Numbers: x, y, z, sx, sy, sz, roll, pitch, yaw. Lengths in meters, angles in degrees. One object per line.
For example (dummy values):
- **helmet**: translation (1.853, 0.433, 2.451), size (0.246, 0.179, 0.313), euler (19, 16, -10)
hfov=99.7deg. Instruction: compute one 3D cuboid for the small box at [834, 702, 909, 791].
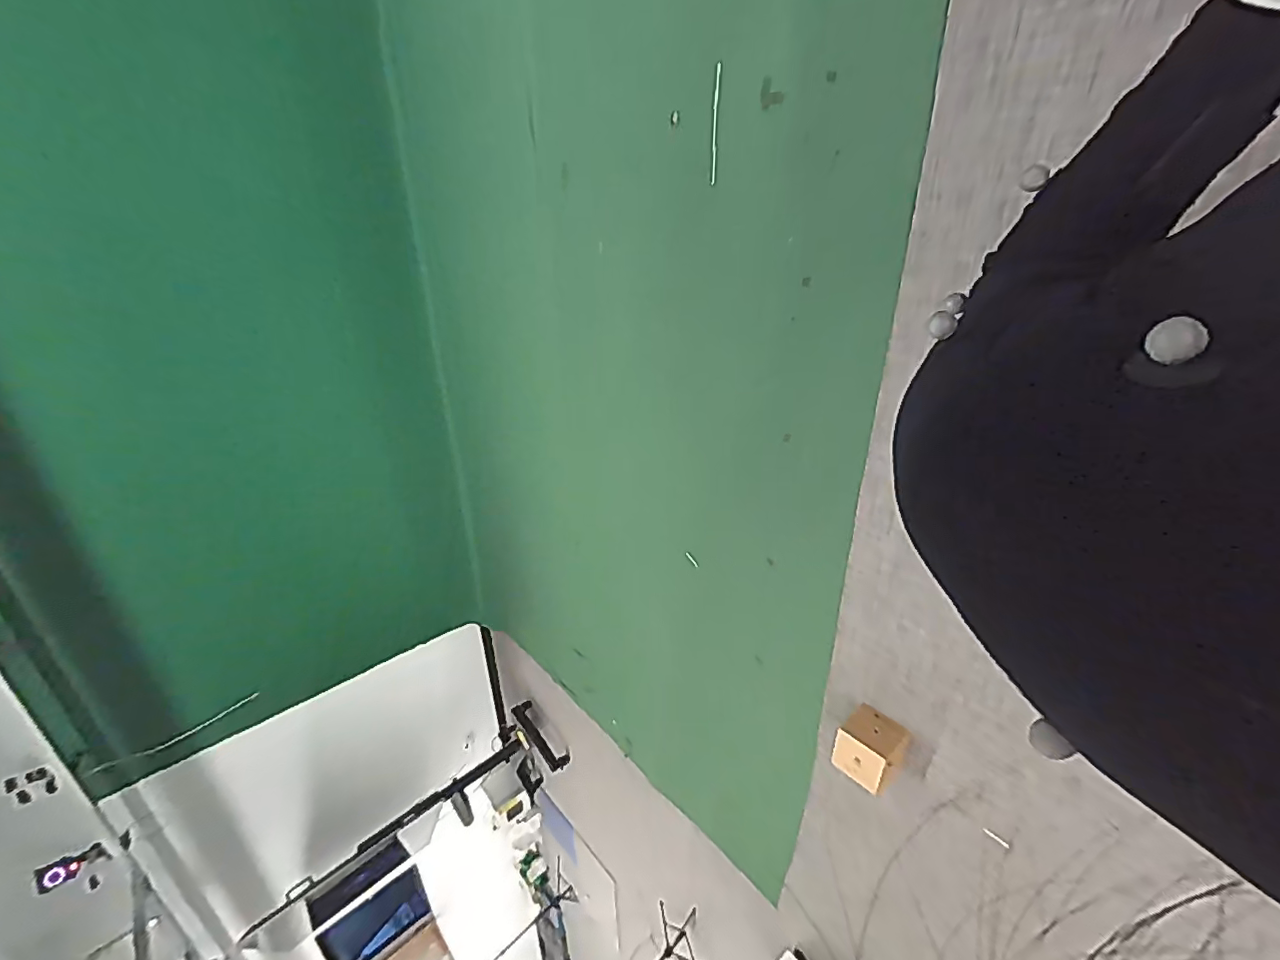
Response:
- **small box**: translation (0.790, 0.899, 1.841), size (0.168, 0.176, 0.179), euler (26, 126, 43)
